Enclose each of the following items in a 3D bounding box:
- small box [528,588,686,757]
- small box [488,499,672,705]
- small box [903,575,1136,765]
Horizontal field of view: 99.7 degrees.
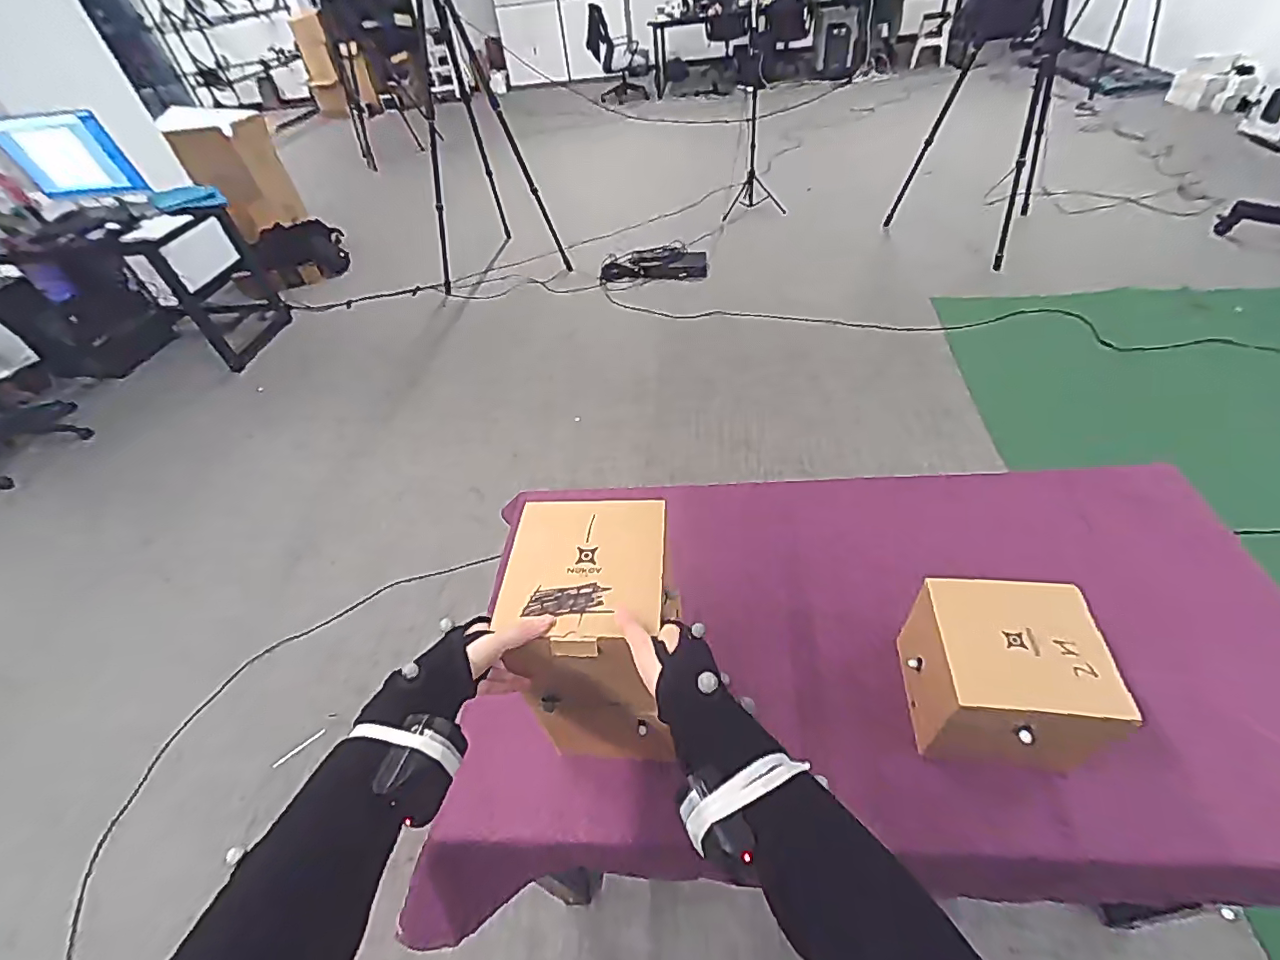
[{"bbox_3d":[-0.031,0.261,0.734,0.179,0.176,0.168,-1,45,8],"label":"small box"},{"bbox_3d":[-0.052,0.143,0.621,0.168,0.176,0.179,-2,44,7],"label":"small box"},{"bbox_3d":[0.442,0.236,0.674,0.179,0.176,0.168,1,47,11],"label":"small box"}]
